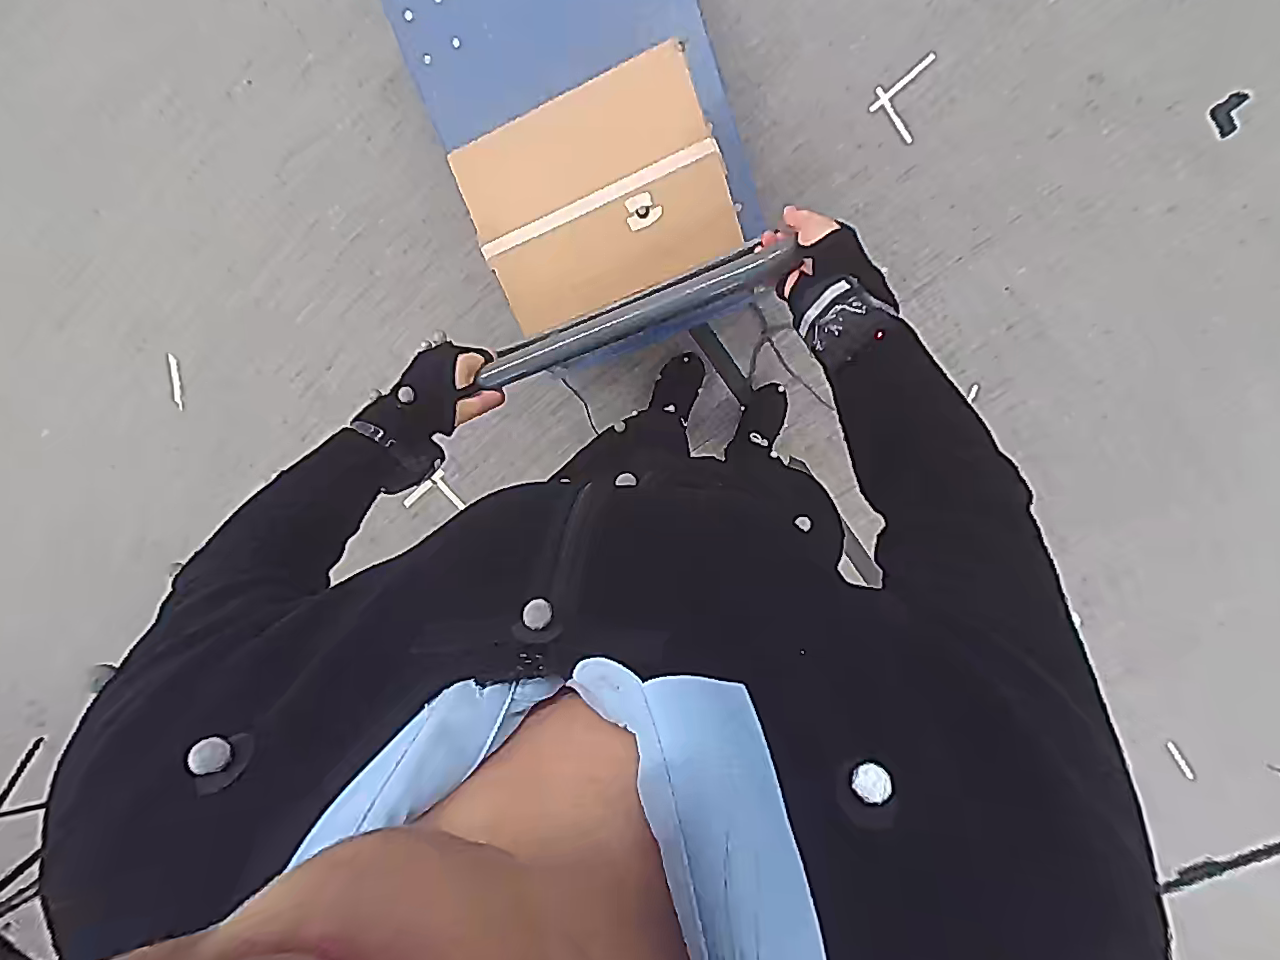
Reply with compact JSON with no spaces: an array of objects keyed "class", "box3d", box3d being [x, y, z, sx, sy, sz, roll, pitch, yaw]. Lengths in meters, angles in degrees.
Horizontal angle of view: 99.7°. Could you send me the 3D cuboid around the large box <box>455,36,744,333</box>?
[{"class":"large box","box3d":[-0.054,-0.501,1.020,0.408,0.320,0.320,-20,105,11]}]
